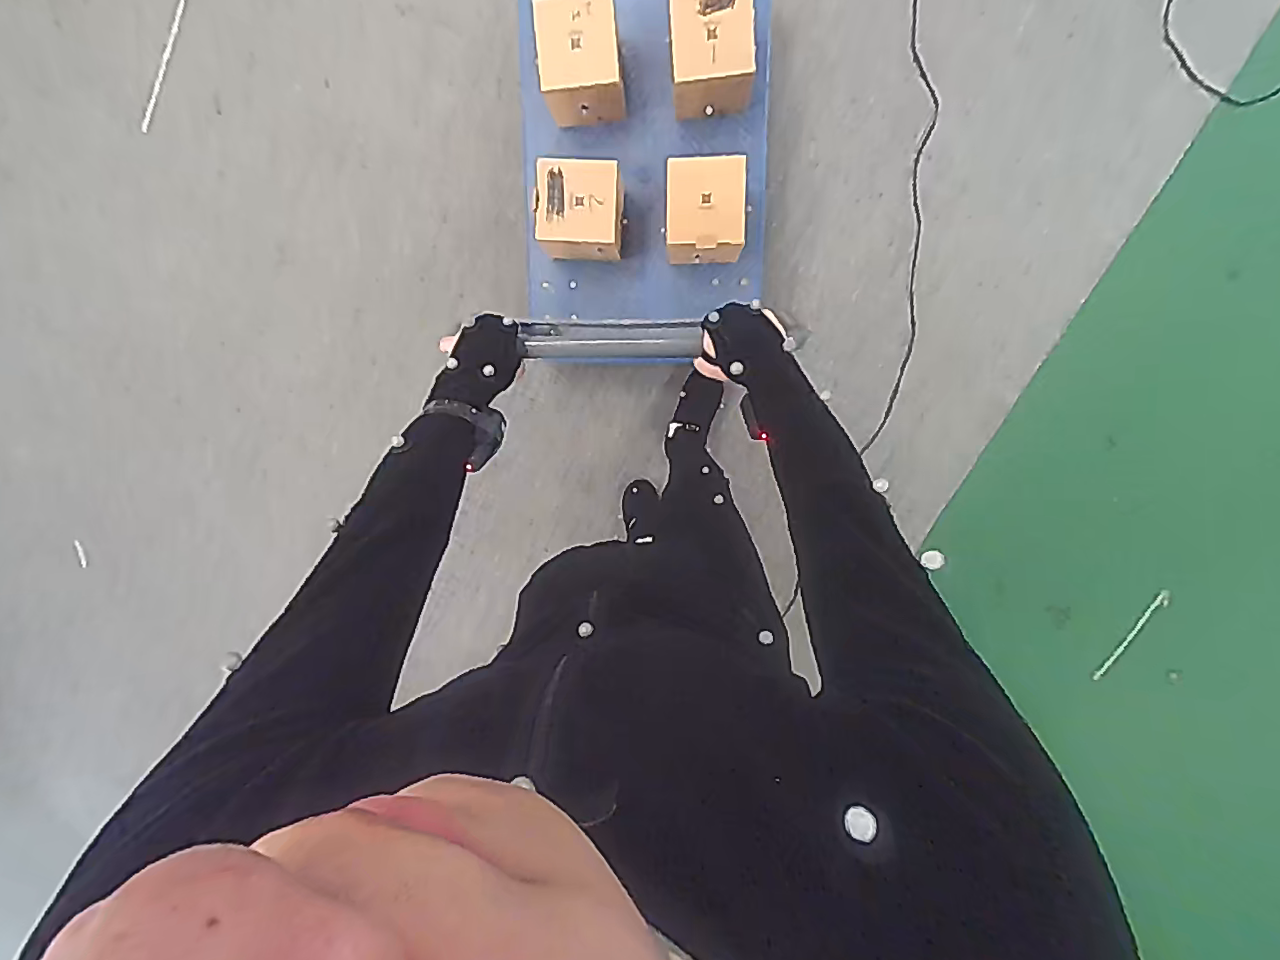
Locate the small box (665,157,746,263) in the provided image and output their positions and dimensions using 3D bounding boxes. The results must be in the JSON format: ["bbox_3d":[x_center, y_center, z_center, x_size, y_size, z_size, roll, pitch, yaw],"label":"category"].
[{"bbox_3d":[0.141,-0.597,1.213,0.168,0.176,0.179,0,101,3],"label":"small box"}]

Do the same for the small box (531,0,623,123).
[{"bbox_3d":[-0.128,-0.905,1.173,0.168,0.176,0.179,-4,100,3],"label":"small box"}]

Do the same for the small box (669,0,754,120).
[{"bbox_3d":[0.147,-0.910,1.156,0.168,0.176,0.179,-4,101,5],"label":"small box"}]
